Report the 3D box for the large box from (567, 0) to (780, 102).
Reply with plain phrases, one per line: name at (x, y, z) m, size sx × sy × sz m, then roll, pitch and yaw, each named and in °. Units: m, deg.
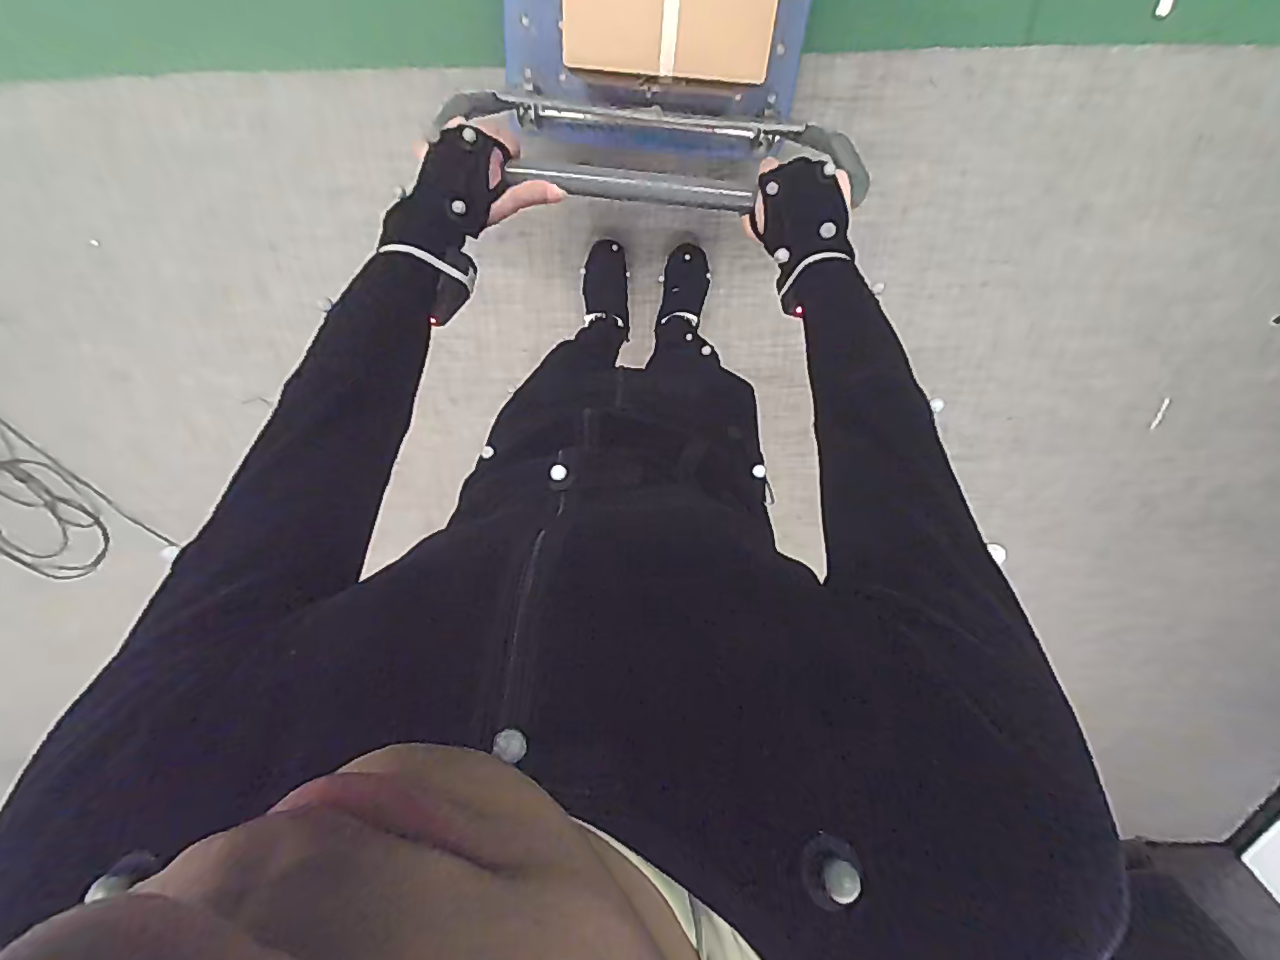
large box at (0.058, -0.861, 0.857) m, size 0.320 × 0.320 × 0.408 m, roll 4°, pitch 122°, yaw -3°
